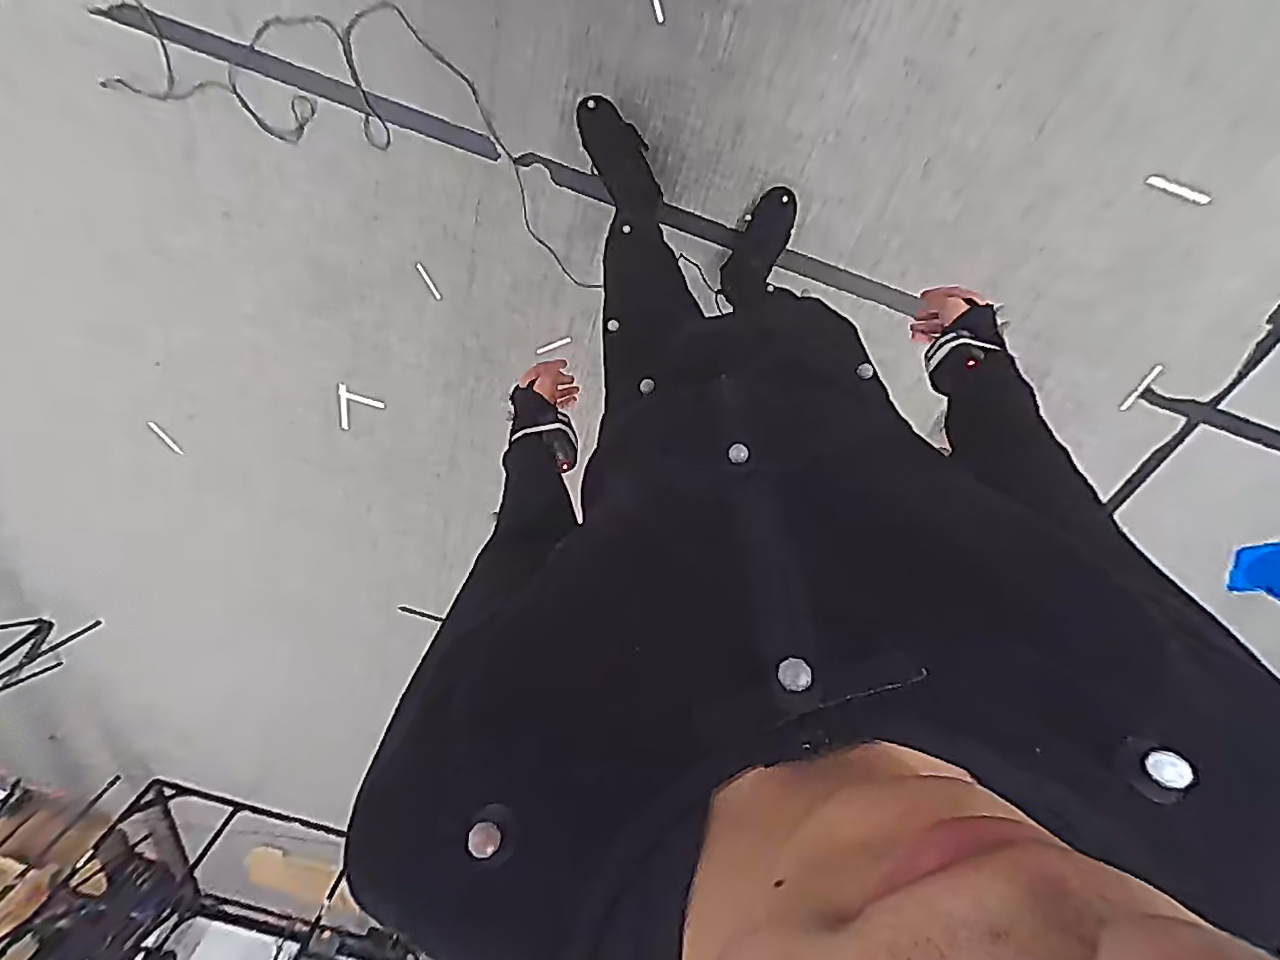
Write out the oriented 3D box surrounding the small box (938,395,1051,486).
[{"bbox_3d":[0.979,-0.118,1.515,0.179,0.176,0.168,21,123,-5],"label":"small box"}]
